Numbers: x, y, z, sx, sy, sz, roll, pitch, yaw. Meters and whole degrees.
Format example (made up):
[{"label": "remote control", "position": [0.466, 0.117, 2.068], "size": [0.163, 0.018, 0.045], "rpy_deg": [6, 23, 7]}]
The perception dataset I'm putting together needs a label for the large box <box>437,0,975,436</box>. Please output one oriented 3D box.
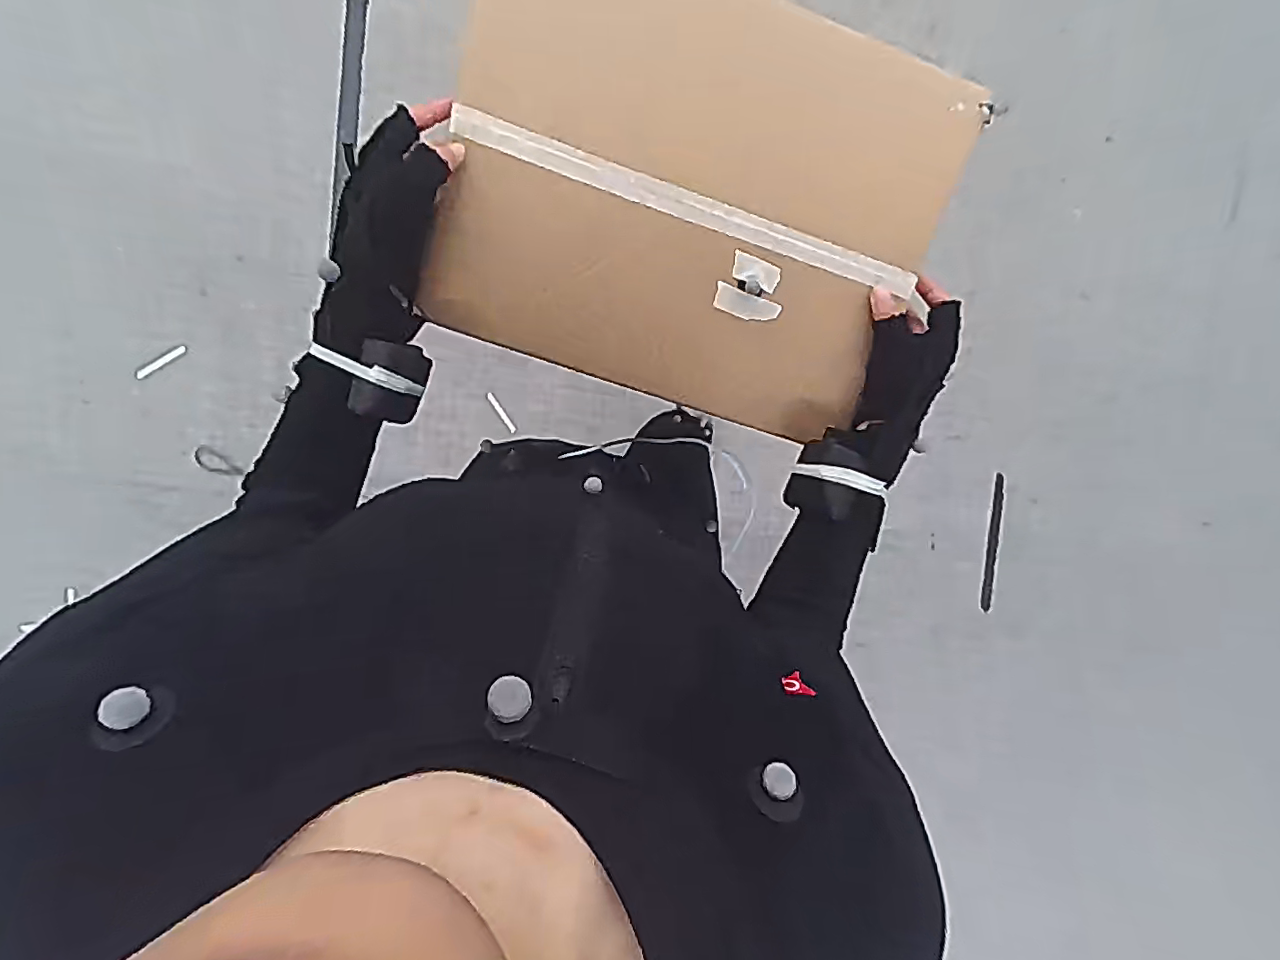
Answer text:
[{"label": "large box", "position": [0.042, -0.277, 0.609], "size": [0.408, 0.320, 0.320], "rpy_deg": [17, 106, -8]}]
